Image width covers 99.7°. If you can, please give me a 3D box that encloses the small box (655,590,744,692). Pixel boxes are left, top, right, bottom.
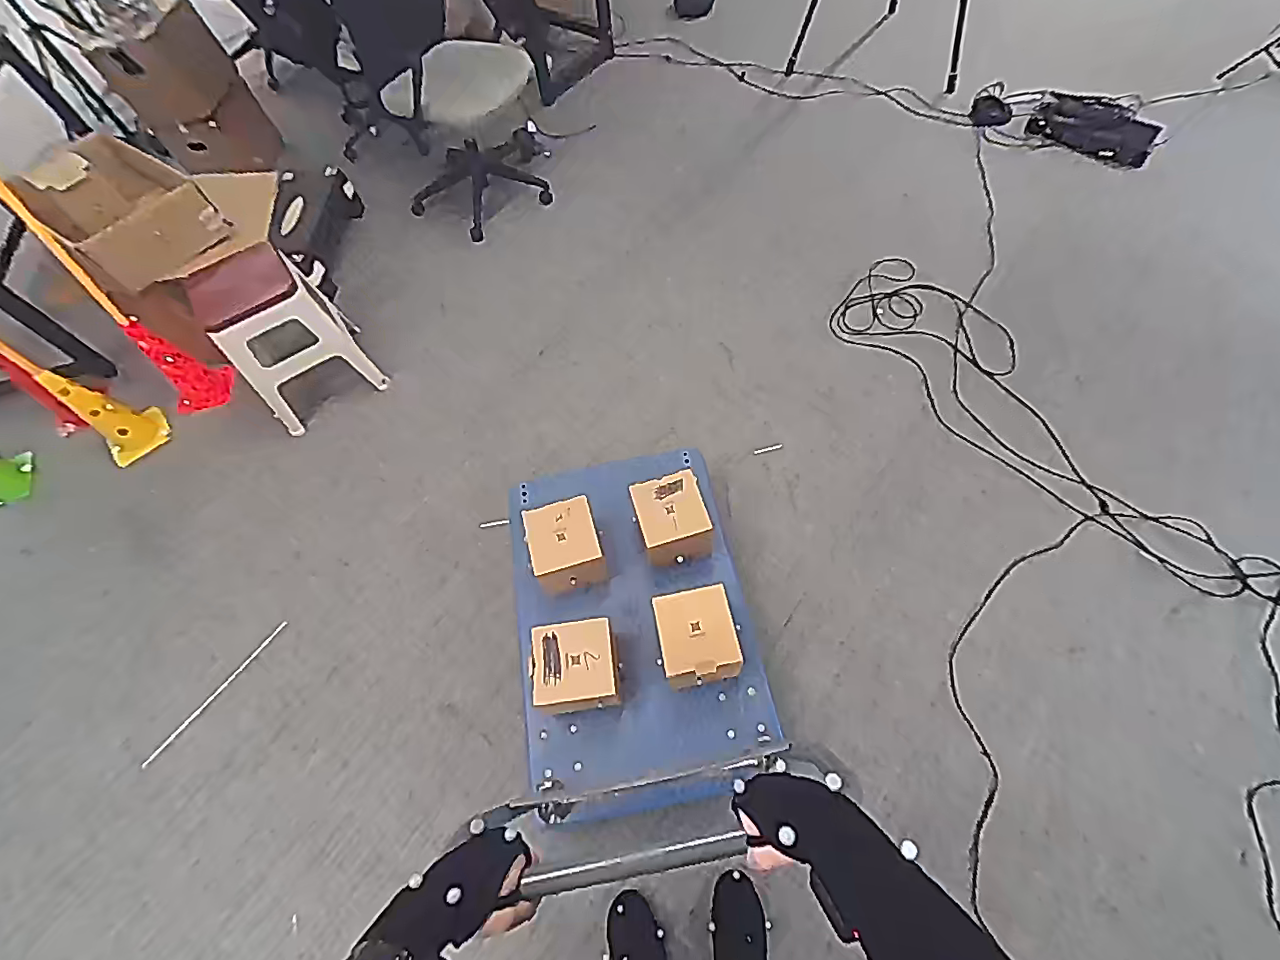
[{"bbox_3d":[0.129,0.372,1.236,0.168,0.176,0.179,-11,62,-1],"label":"small box"}]

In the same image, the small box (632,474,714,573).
[{"bbox_3d":[0.082,0.115,1.379,0.168,0.176,0.179,-15,62,-3],"label":"small box"}]

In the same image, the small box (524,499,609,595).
[{"bbox_3d":[-0.182,0.178,1.366,0.168,0.176,0.179,-15,61,-5],"label":"small box"}]
